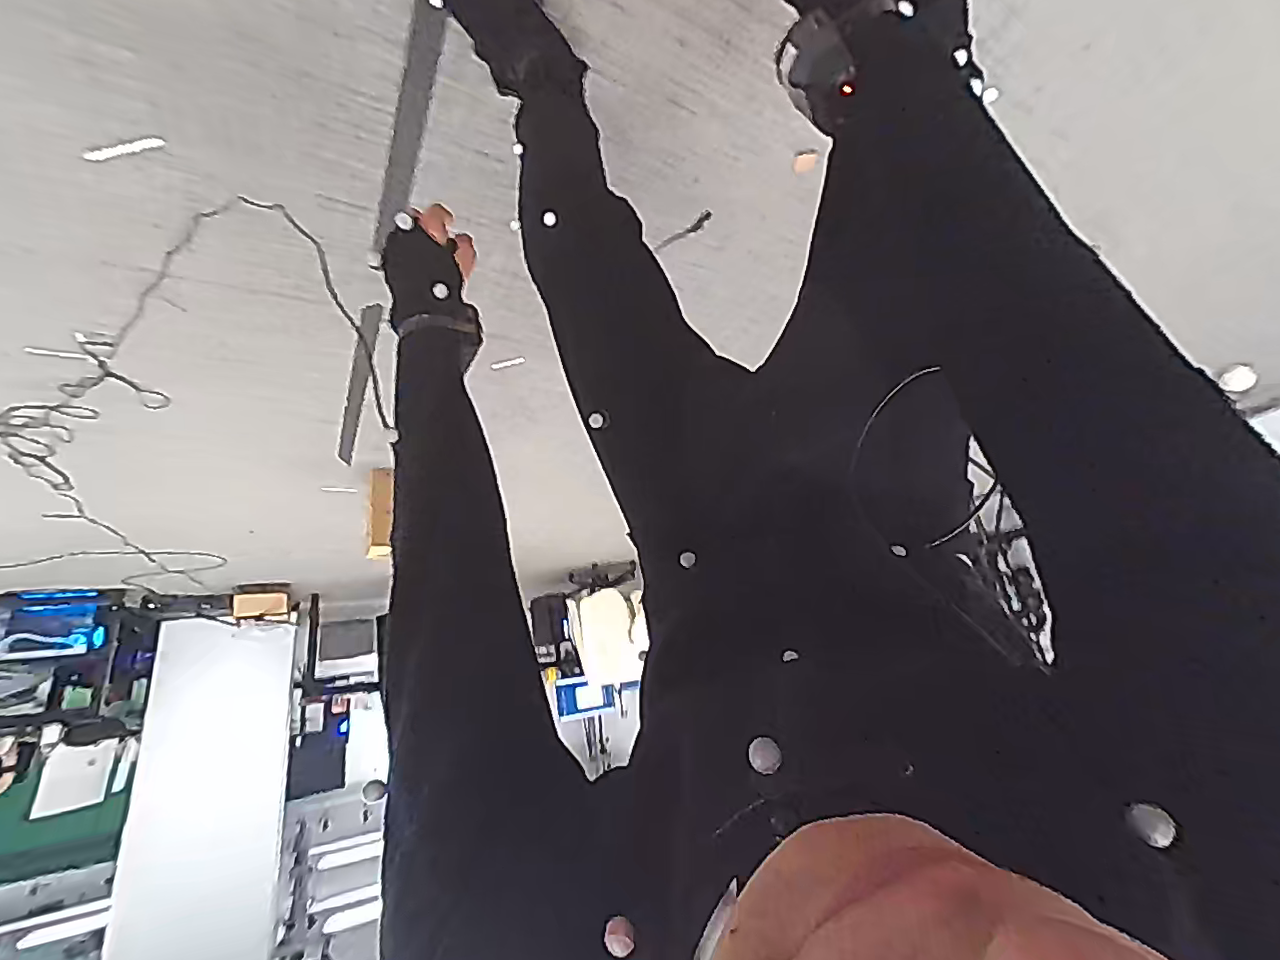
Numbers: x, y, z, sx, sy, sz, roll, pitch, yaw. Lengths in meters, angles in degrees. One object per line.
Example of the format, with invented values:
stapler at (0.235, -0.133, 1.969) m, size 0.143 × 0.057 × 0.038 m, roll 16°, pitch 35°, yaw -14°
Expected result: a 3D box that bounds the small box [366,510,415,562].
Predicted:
small box at (-1.030, 0.234, 2.234) m, size 0.168 × 0.176 × 0.179 m, roll 5°, pitch 155°, yaw -32°
